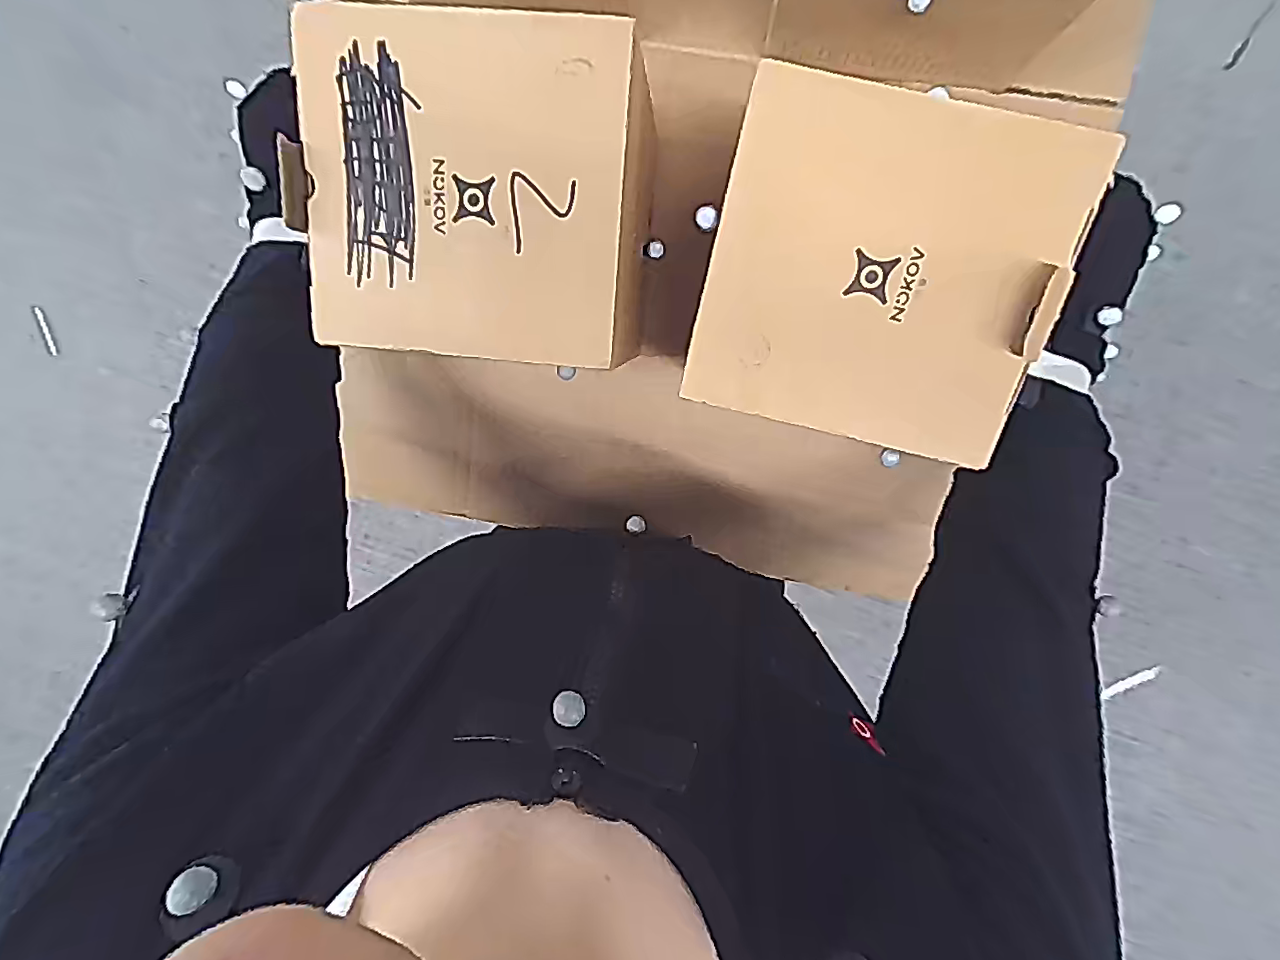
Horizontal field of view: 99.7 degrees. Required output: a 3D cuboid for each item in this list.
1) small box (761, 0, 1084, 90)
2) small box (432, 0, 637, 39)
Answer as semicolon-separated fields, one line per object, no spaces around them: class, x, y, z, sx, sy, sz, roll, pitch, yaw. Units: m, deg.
small box;0.178;-0.355;0.301;0.179;0.176;0.168;11;100;4
small box;-0.079;-0.407;0.316;0.168;0.176;0.179;9;99;3
